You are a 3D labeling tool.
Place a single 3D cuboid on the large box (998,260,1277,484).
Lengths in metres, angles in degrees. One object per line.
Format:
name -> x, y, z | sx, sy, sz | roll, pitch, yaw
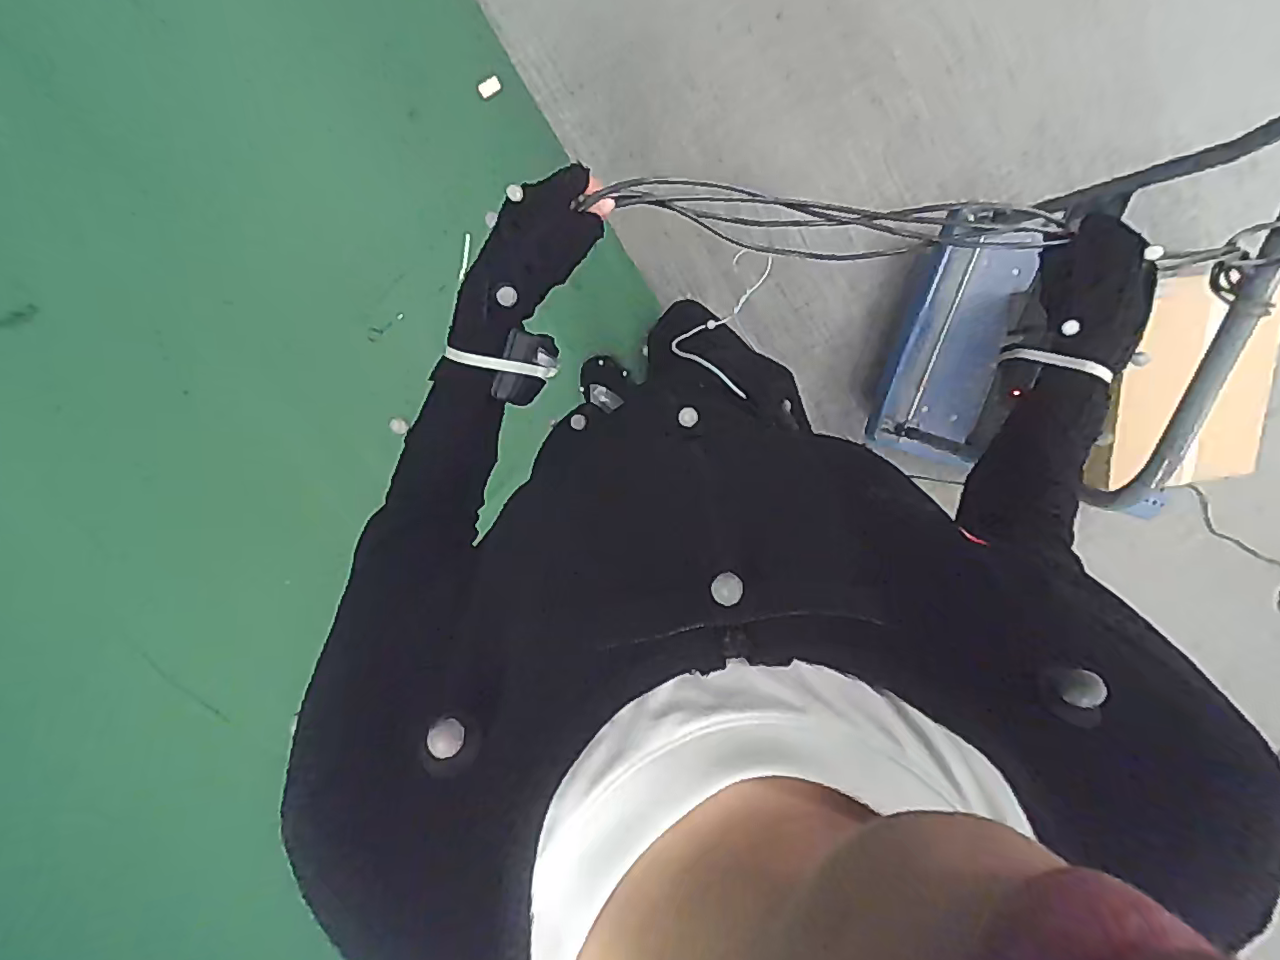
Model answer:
large box -> 1.047, -0.236, 1.191 | 0.320, 0.320, 0.408 | -7, 105, -3
